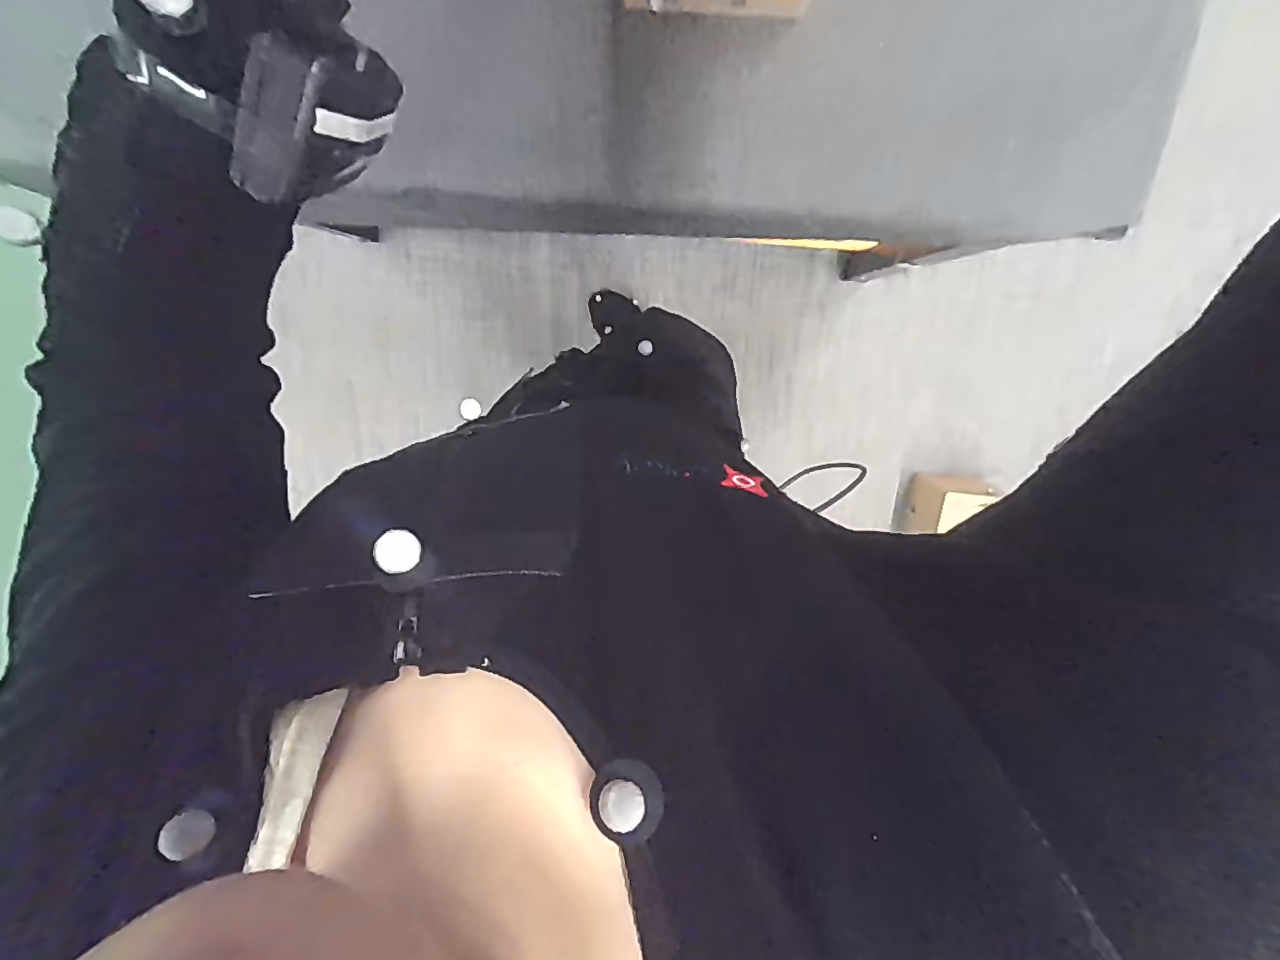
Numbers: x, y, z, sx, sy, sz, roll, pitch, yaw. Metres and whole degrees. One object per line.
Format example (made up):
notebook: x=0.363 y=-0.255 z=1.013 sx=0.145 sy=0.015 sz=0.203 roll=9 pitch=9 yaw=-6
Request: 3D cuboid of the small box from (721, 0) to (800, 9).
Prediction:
small box: x=0.068 y=-0.492 z=0.394 sx=0.168 sy=0.176 sz=0.179 roll=5 pitch=105 yaw=2

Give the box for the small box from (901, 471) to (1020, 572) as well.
small box: x=0.737 y=0.092 z=1.268 sx=0.168 sy=0.176 sz=0.179 roll=7 pitch=107 yaw=2
